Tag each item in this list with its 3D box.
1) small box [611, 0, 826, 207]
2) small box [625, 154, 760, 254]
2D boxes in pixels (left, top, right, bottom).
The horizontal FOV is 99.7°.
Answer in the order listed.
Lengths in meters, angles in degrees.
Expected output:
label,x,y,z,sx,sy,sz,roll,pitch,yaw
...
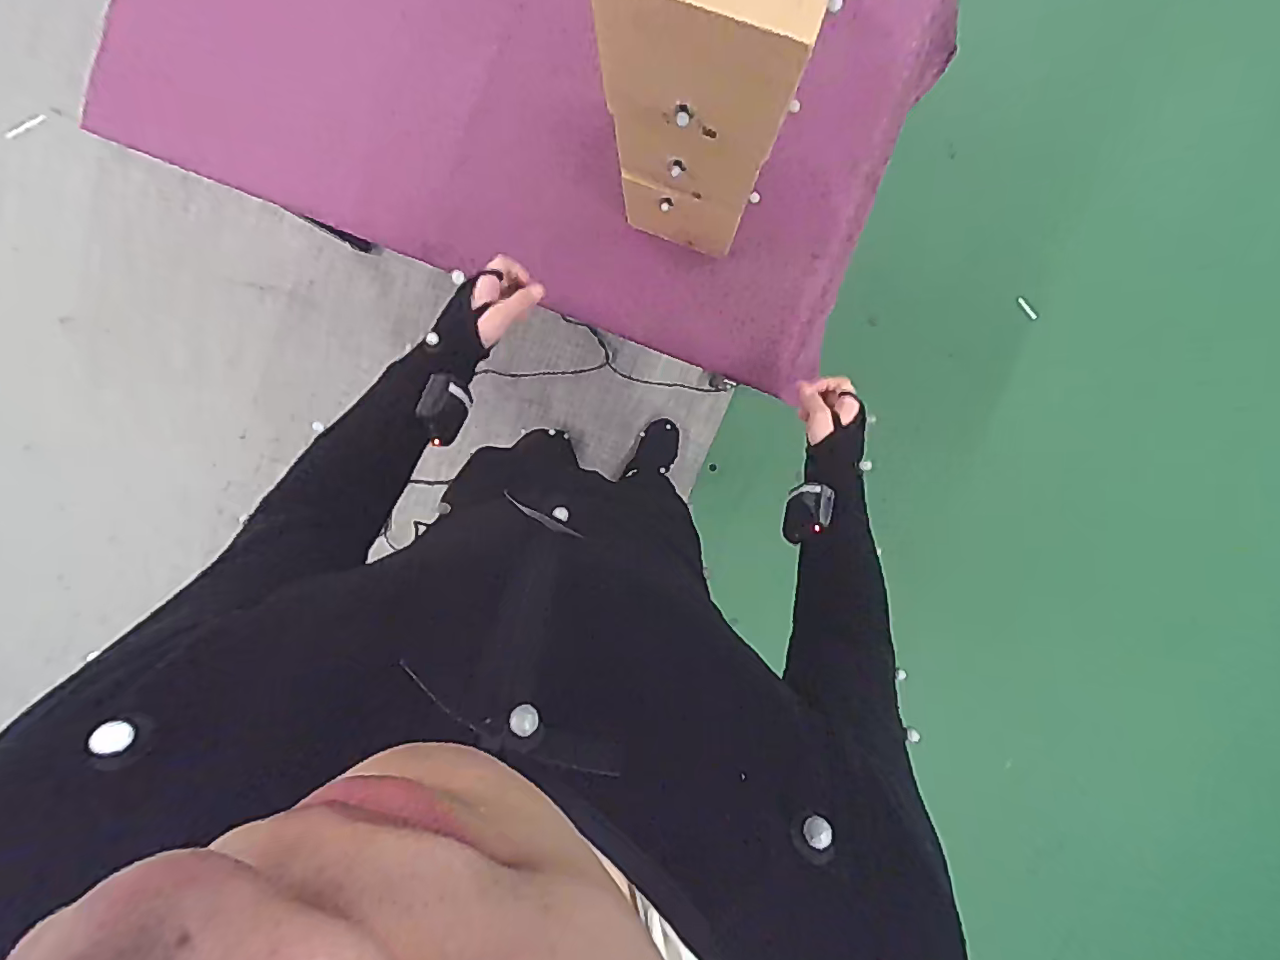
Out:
label,x,y,z,sx,sy,sz,roll,pitch,yaw
small box,0.081,-0.438,0.596,0.168,0.176,0.179,22,96,-1
small box,0.086,-0.453,0.761,0.168,0.176,0.179,20,95,1
